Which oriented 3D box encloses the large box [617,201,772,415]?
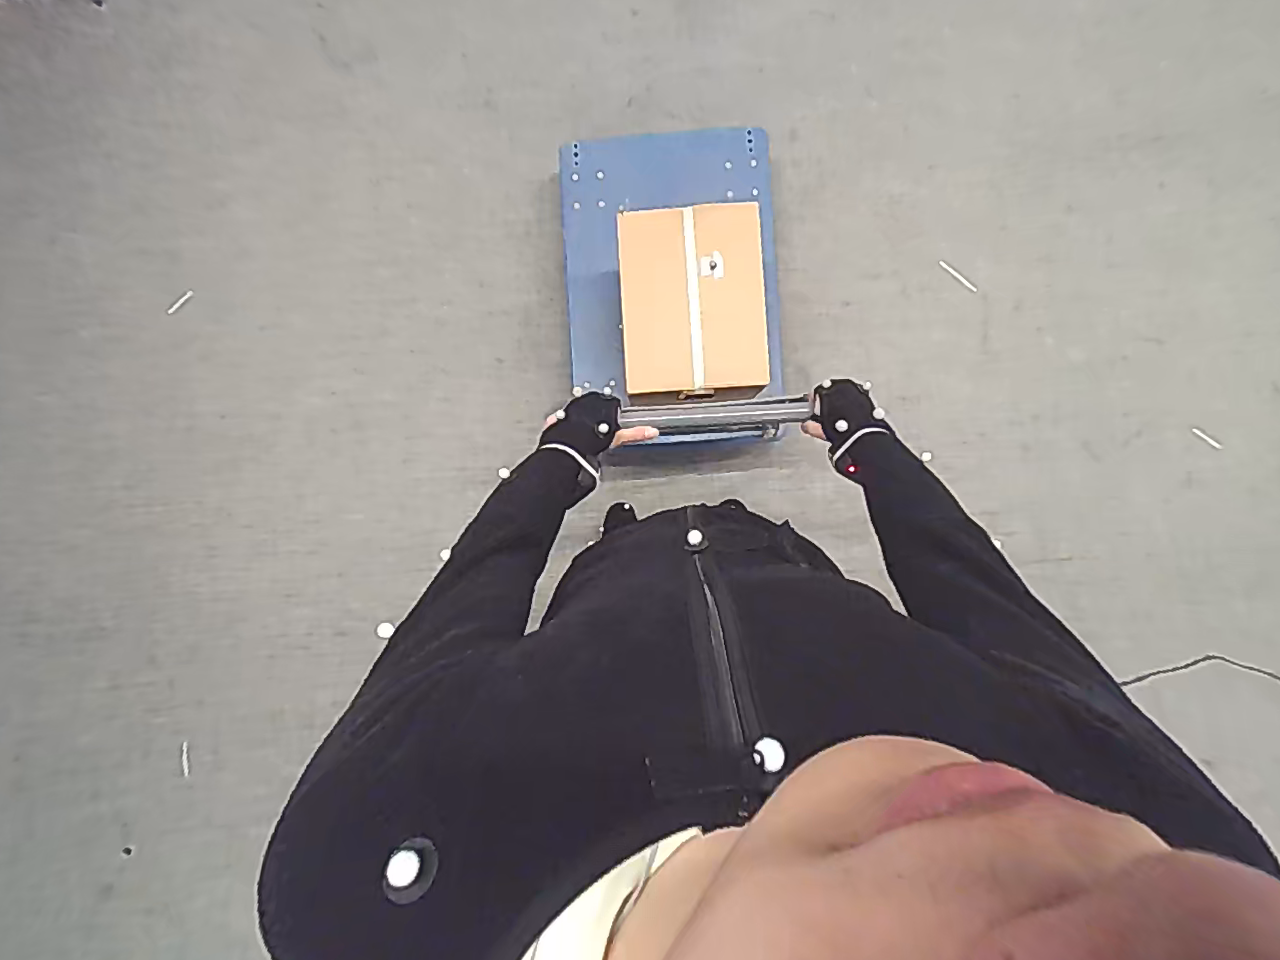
[{"bbox_3d":[0.121,-0.387,1.309,0.320,0.320,0.408,-3,88,1],"label":"large box"}]
